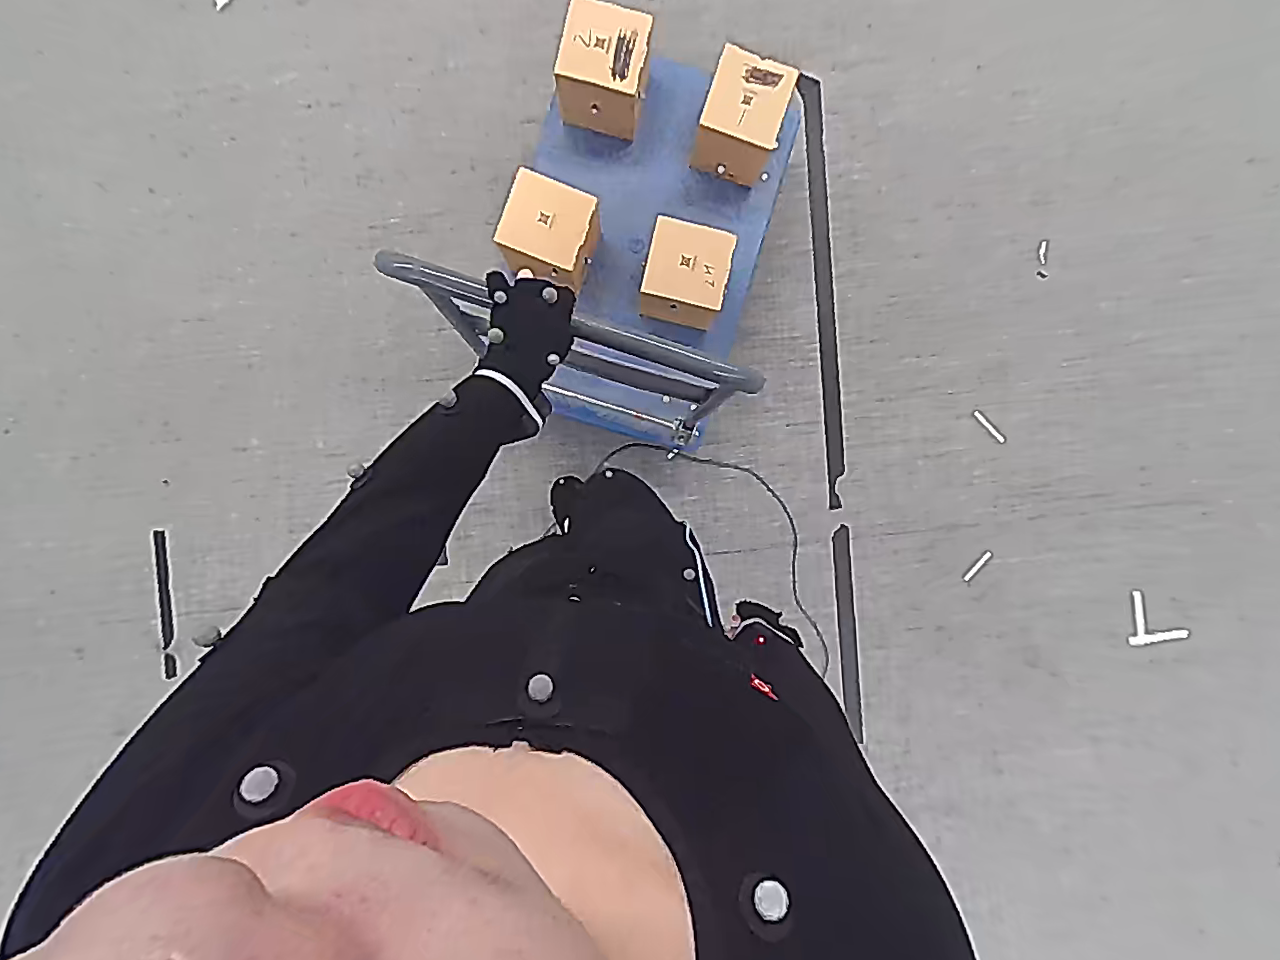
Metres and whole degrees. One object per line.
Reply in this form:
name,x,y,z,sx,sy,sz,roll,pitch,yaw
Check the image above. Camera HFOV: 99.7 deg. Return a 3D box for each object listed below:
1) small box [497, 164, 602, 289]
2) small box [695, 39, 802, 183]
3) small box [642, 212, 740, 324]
small box,-0.192,-0.547,1.195,0.179,0.176,0.168,20,91,-4
small box,0.229,-0.805,1.198,0.168,0.176,0.179,19,93,-3
small box,0.104,-0.462,1.208,0.179,0.176,0.168,14,92,-3
